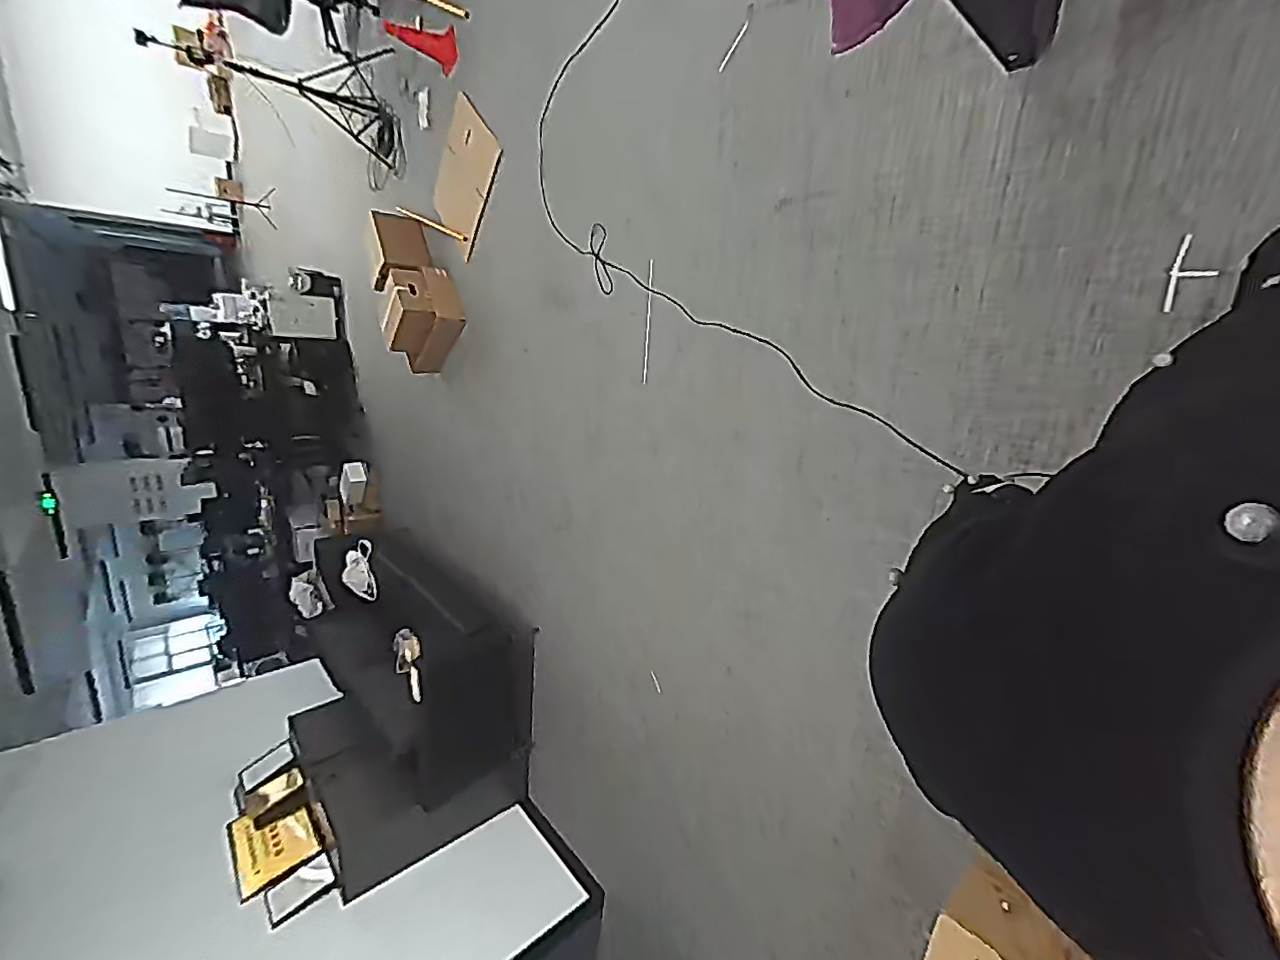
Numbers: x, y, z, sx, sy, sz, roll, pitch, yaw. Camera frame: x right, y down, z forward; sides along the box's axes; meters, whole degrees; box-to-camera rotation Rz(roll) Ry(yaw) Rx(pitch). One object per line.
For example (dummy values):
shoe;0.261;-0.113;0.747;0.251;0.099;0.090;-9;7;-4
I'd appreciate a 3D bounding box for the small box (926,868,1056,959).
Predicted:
small box;0.717;0.959;1.105;0.168;0.176;0.179;22;114;44
